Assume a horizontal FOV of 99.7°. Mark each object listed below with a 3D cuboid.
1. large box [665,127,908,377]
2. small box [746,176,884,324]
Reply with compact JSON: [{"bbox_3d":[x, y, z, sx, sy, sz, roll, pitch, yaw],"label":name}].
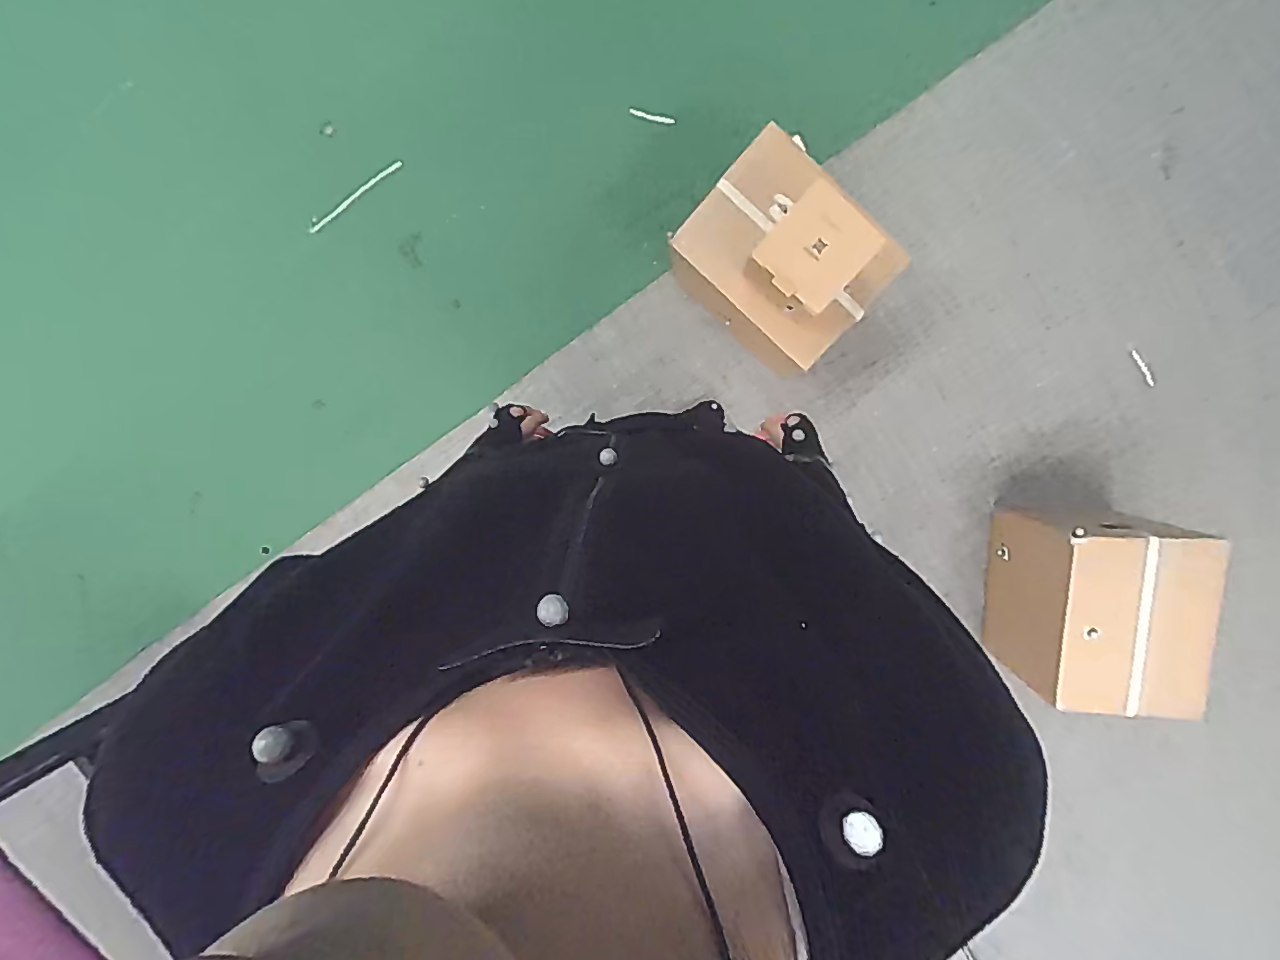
[{"bbox_3d":[0.314,-0.490,1.261,0.408,0.320,0.320,43,98,-1],"label":"large box"},{"bbox_3d":[0.316,-0.418,1.022,0.168,0.176,0.179,43,100,-3],"label":"small box"}]
